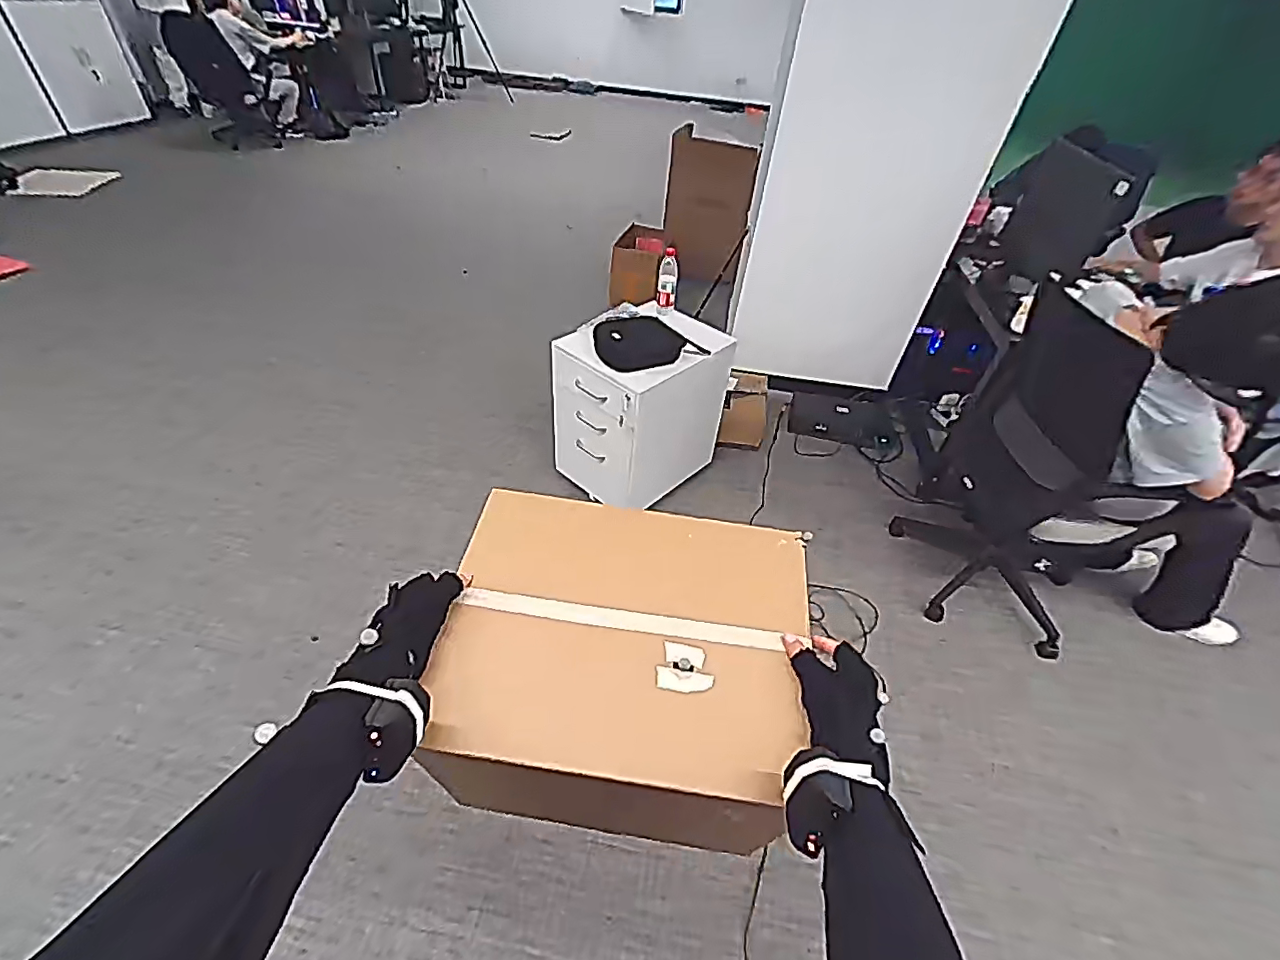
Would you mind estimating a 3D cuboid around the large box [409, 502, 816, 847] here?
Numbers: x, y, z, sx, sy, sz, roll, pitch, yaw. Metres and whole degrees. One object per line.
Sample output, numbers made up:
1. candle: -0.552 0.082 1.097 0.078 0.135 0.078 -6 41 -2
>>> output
1. large box: -0.024 0.263 0.724 0.408 0.320 0.320 8 50 2
